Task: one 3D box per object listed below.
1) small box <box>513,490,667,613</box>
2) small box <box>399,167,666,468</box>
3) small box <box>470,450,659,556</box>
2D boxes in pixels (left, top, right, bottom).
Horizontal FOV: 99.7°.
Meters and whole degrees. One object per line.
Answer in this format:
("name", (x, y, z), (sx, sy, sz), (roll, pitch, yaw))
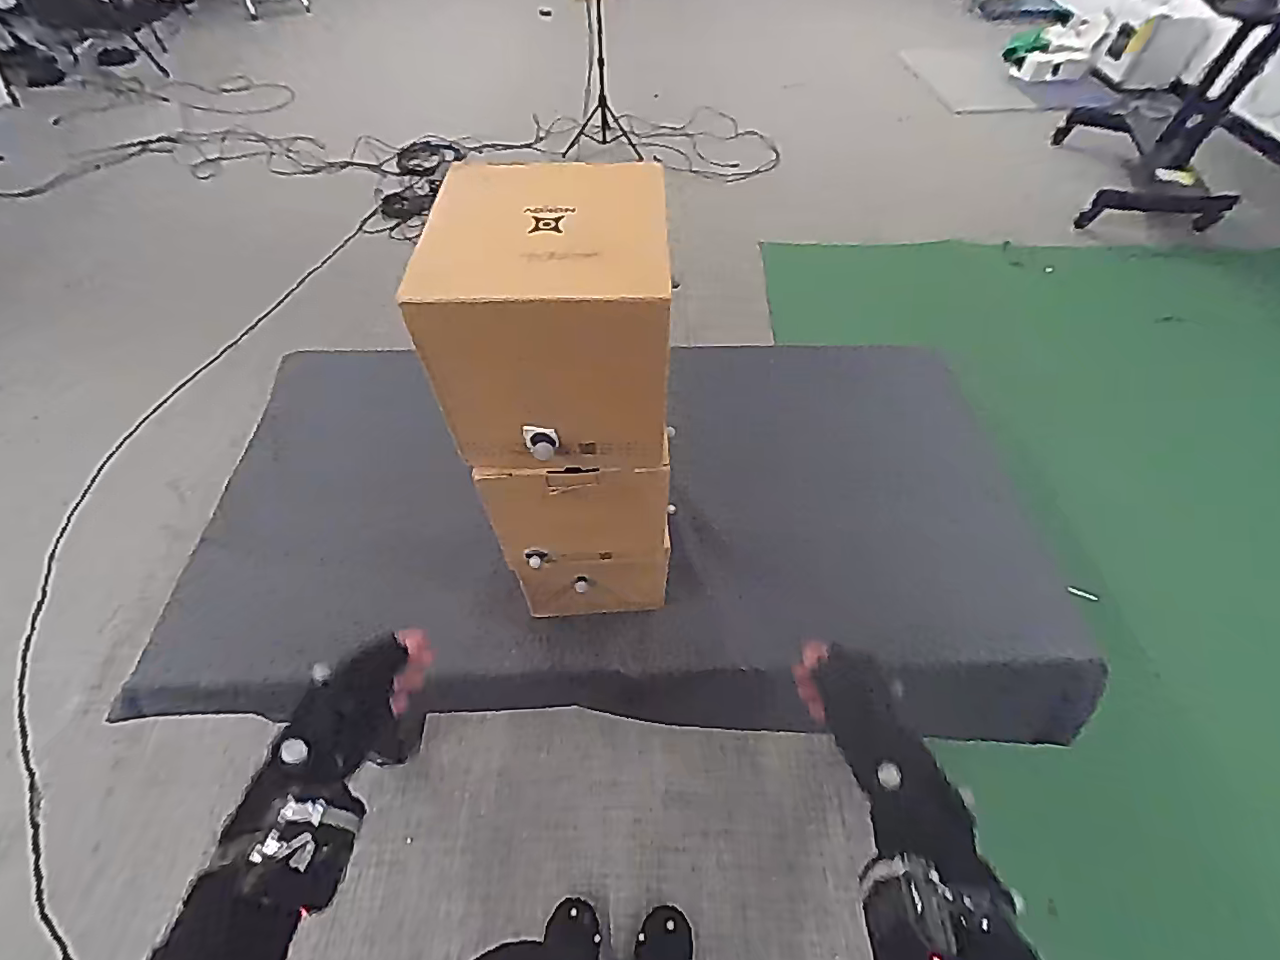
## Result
("small box", (-0.063, 0.060, 0.710), (0.179, 0.176, 0.168), (-6, 52, -5))
("small box", (-0.067, -0.128, 0.441), (0.168, 0.176, 0.179), (-2, 55, 0))
("small box", (-0.067, -0.029, 0.569), (0.168, 0.176, 0.179), (-3, 53, -2))
